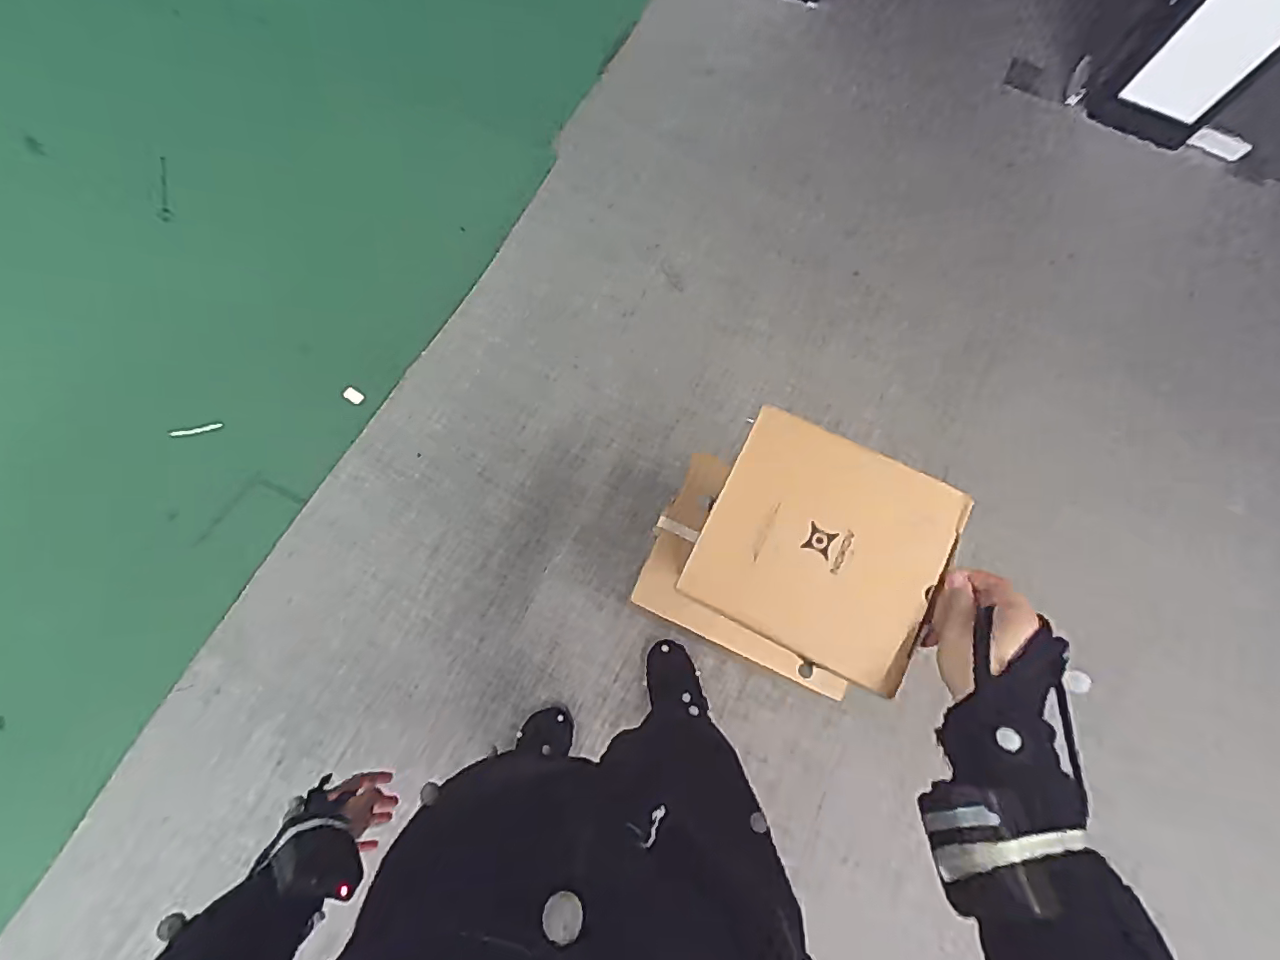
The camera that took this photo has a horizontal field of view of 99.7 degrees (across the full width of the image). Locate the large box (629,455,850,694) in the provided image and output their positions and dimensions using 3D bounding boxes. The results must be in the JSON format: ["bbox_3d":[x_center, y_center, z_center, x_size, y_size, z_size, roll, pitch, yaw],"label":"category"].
[{"bbox_3d":[0.220,0.199,1.123,0.408,0.320,0.320,25,76,4],"label":"large box"}]

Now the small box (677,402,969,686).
[{"bbox_3d":[0.146,0.059,0.492,0.179,0.176,0.168,26,80,9],"label":"small box"}]
